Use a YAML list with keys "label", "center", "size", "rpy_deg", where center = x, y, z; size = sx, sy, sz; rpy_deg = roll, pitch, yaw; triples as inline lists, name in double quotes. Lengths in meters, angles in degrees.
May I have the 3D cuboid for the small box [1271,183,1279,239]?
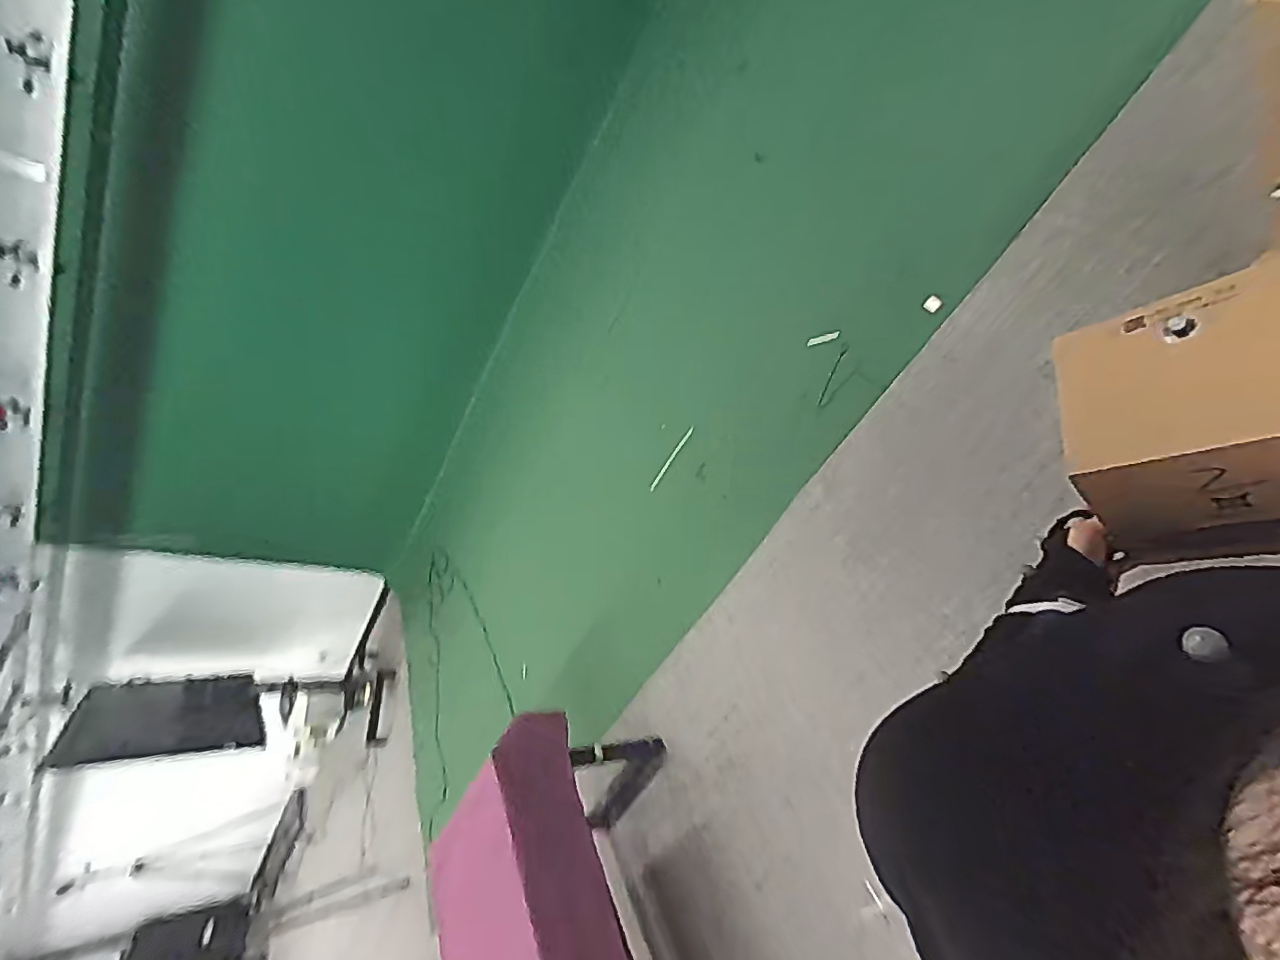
- label: "small box"
  center: [0.930, -0.338, 0.644]
  size: [0.168, 0.176, 0.179]
  rpy_deg: [-48, 46, 31]
